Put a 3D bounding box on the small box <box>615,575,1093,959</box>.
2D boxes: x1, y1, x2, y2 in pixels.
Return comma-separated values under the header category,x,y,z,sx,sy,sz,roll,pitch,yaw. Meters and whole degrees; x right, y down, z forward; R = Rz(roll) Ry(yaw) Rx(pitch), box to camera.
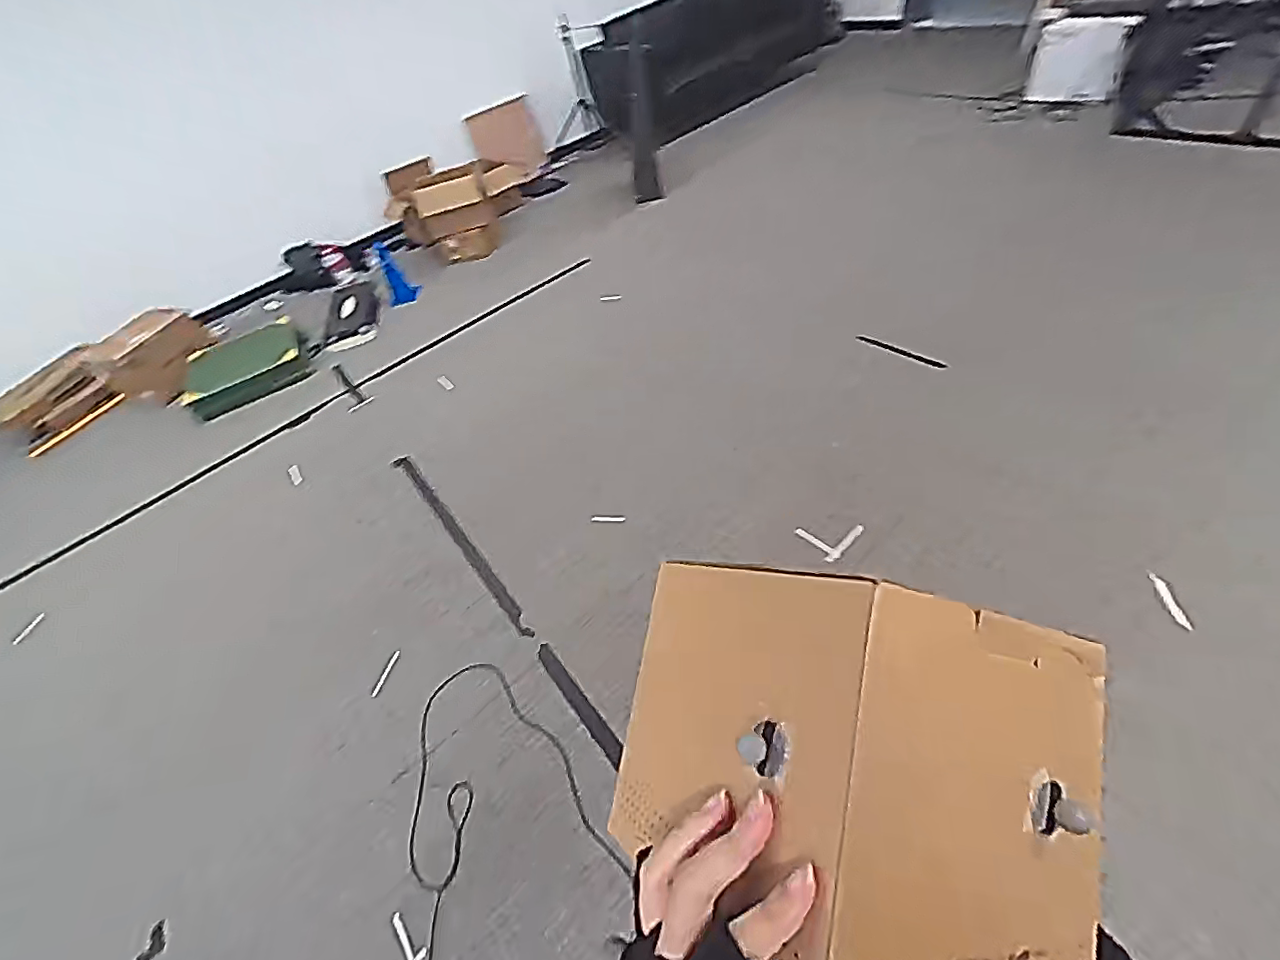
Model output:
category,x,y,z,sx,sy,sz,roll,pitch,yaw
small box,0.103,0.155,0.297,0.168,0.179,0.176,17,77,-23
